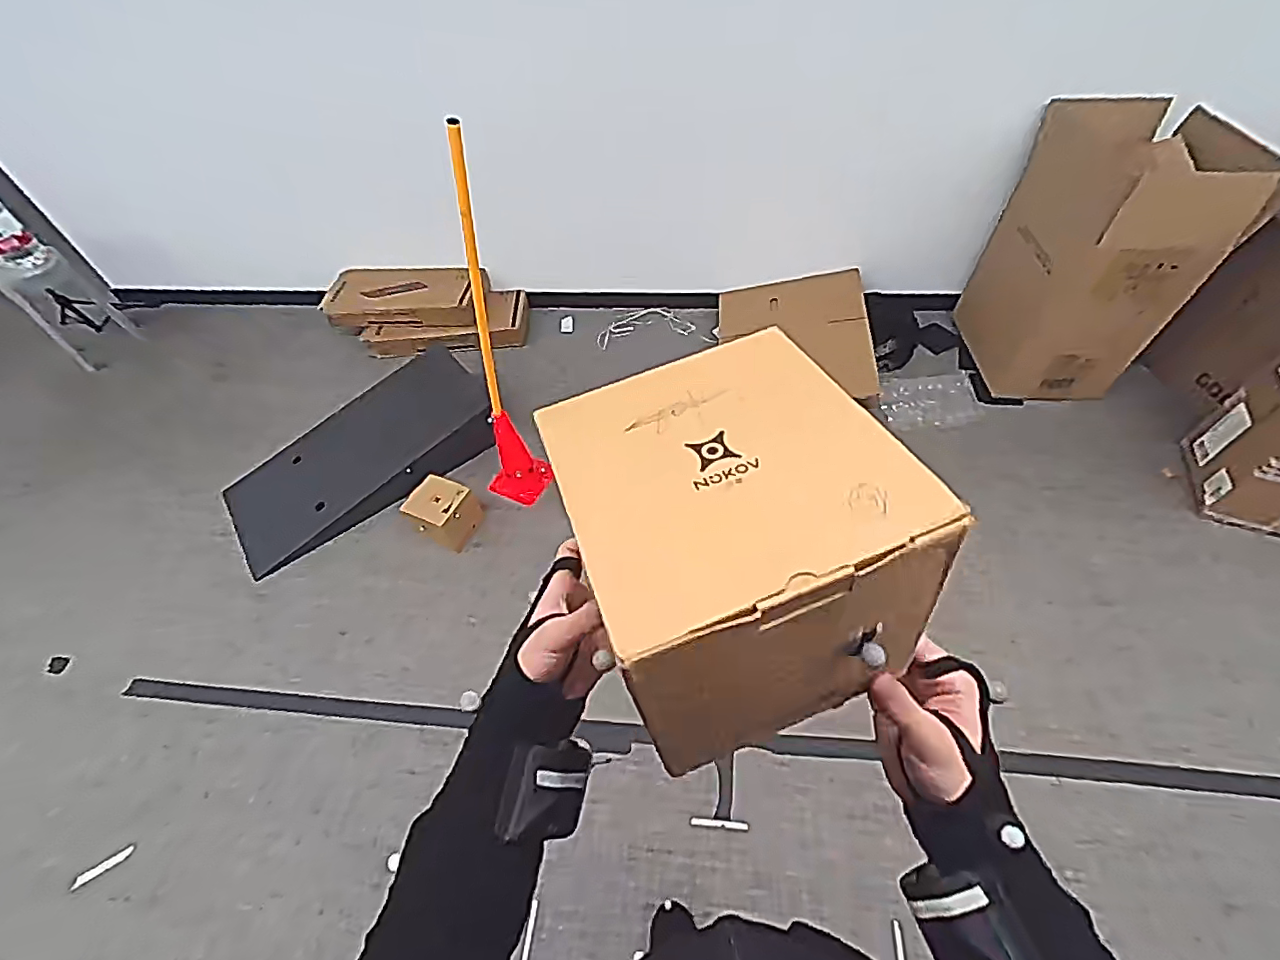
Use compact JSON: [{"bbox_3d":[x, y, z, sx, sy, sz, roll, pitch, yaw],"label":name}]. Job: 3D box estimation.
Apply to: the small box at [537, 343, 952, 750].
[{"bbox_3d":[0.053,0.047,0.349,0.168,0.176,0.179,-22,46,-8],"label":"small box"}]
